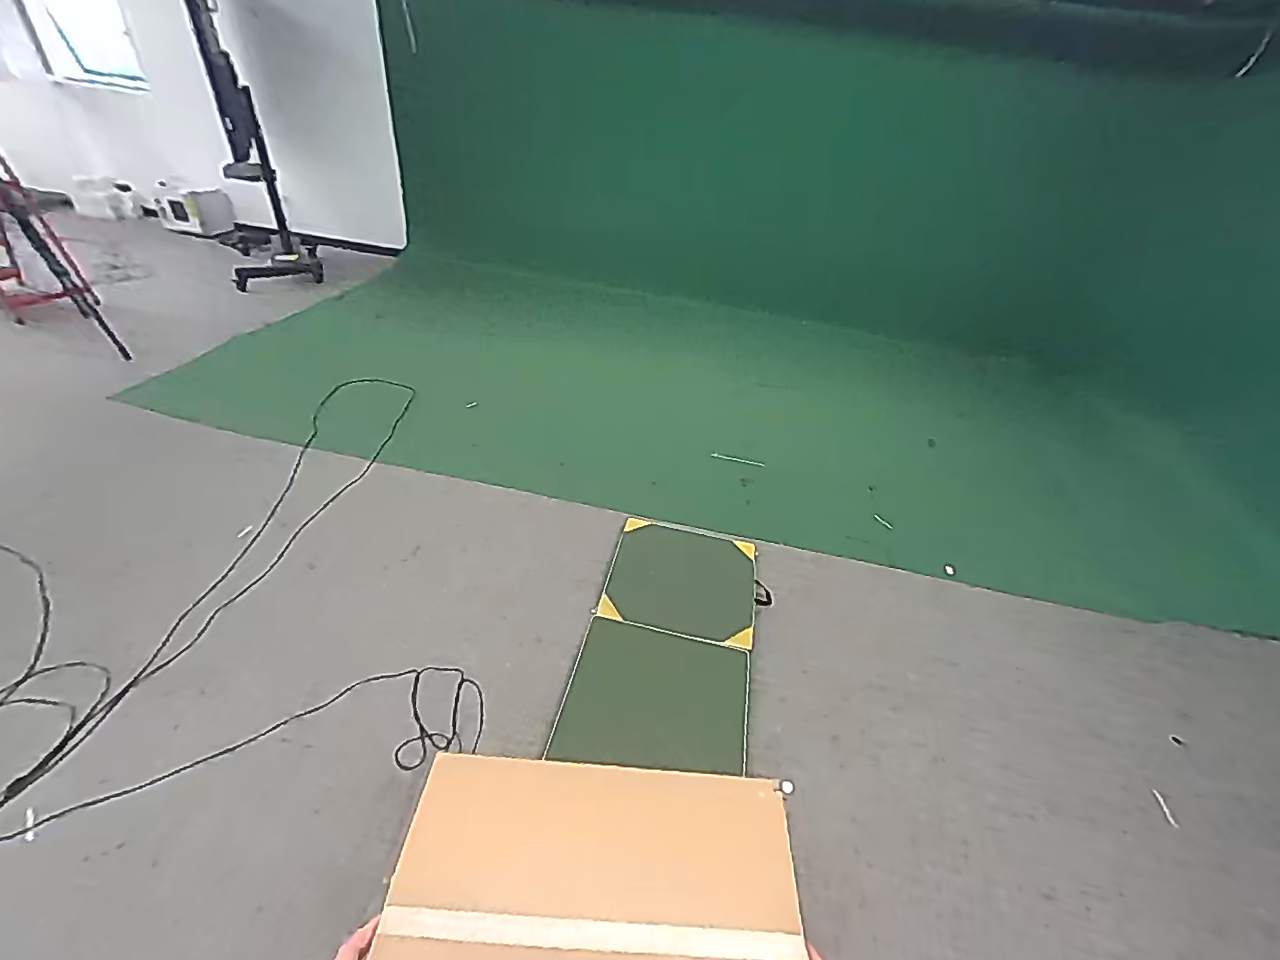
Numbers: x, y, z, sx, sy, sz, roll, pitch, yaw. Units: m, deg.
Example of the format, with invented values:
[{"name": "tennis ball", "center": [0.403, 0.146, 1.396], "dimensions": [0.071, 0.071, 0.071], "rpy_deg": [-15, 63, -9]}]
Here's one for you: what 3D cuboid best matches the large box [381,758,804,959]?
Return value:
[{"name": "large box", "center": [-0.054, 0.555, 0.609], "dimensions": [0.408, 0.320, 0.320], "rpy_deg": [6, 37, -1]}]
